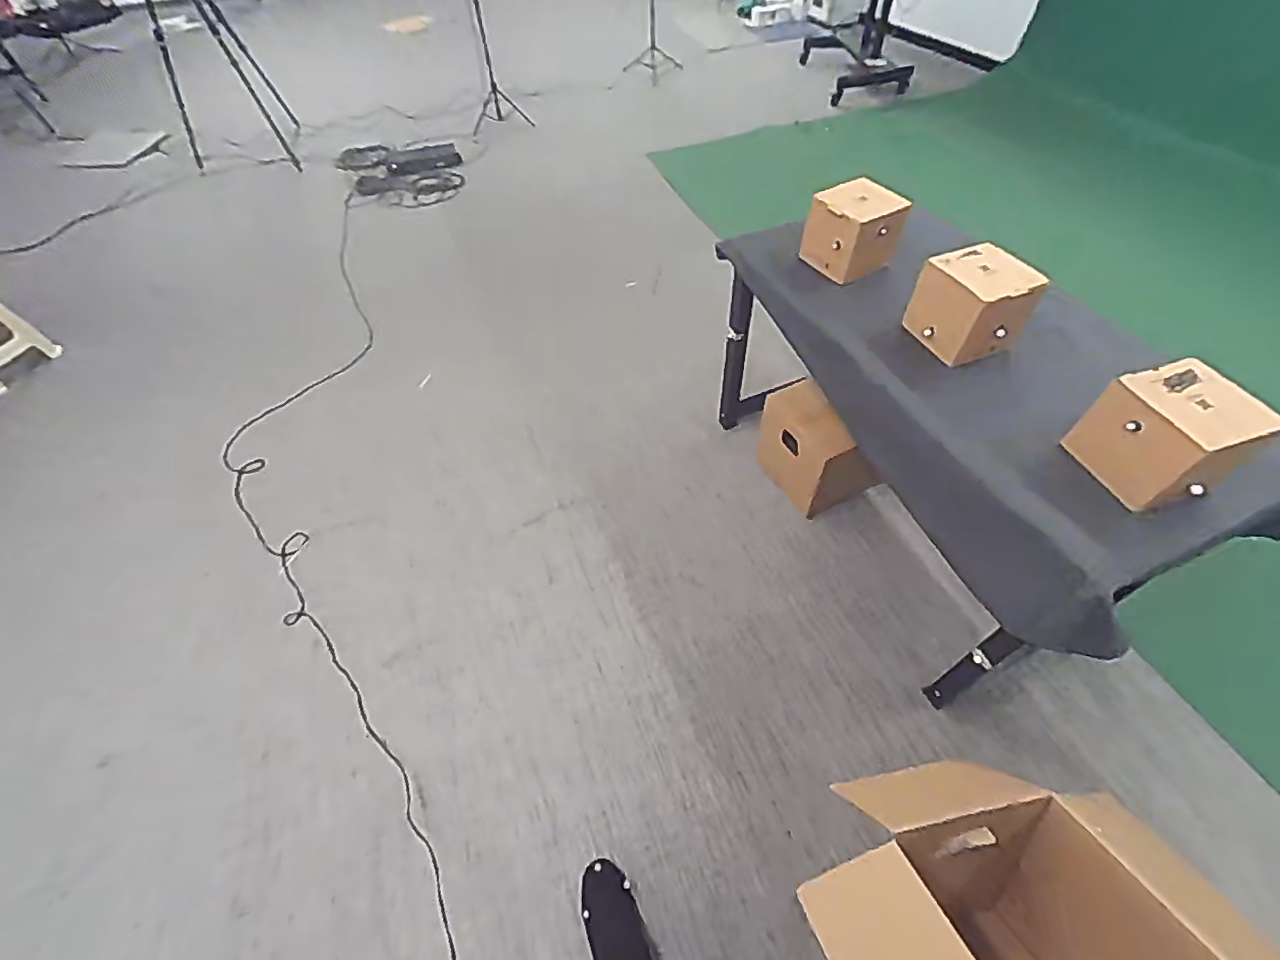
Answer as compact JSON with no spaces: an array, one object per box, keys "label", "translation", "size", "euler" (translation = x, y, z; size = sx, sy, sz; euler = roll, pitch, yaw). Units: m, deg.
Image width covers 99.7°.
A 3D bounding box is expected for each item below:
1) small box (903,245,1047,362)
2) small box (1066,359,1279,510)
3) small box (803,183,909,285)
[{"label":"small box","translation":[0.718,-0.378,1.183],"size":[0.168,0.176,0.179],"euler":[-18,54,-11]},{"label":"small box","translation":[0.903,-0.077,0.934],"size":[0.168,0.176,0.179],"euler":[-15,53,-8]},{"label":"small box","translation":[0.542,-0.629,1.390],"size":[0.179,0.176,0.168],"euler":[-26,57,-19]}]
